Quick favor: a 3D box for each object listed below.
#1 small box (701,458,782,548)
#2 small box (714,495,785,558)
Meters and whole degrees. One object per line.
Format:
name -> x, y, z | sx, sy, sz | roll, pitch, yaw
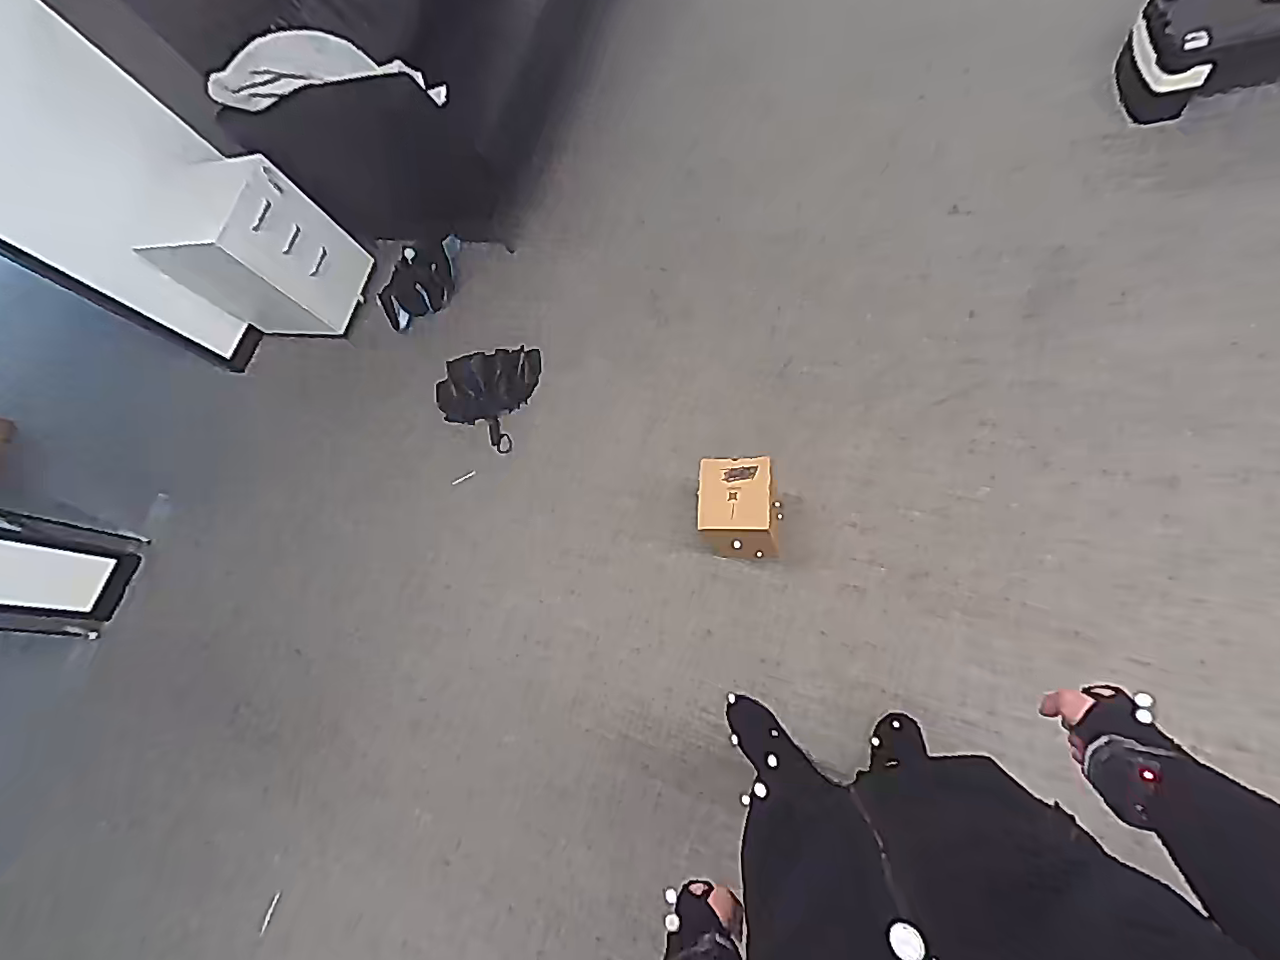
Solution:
small box -> 0.251, 0.058, 1.309 | 0.168, 0.176, 0.179 | -1, 71, 20
small box -> 0.300, 0.110, 1.457 | 0.168, 0.176, 0.179 | -2, 69, 19
